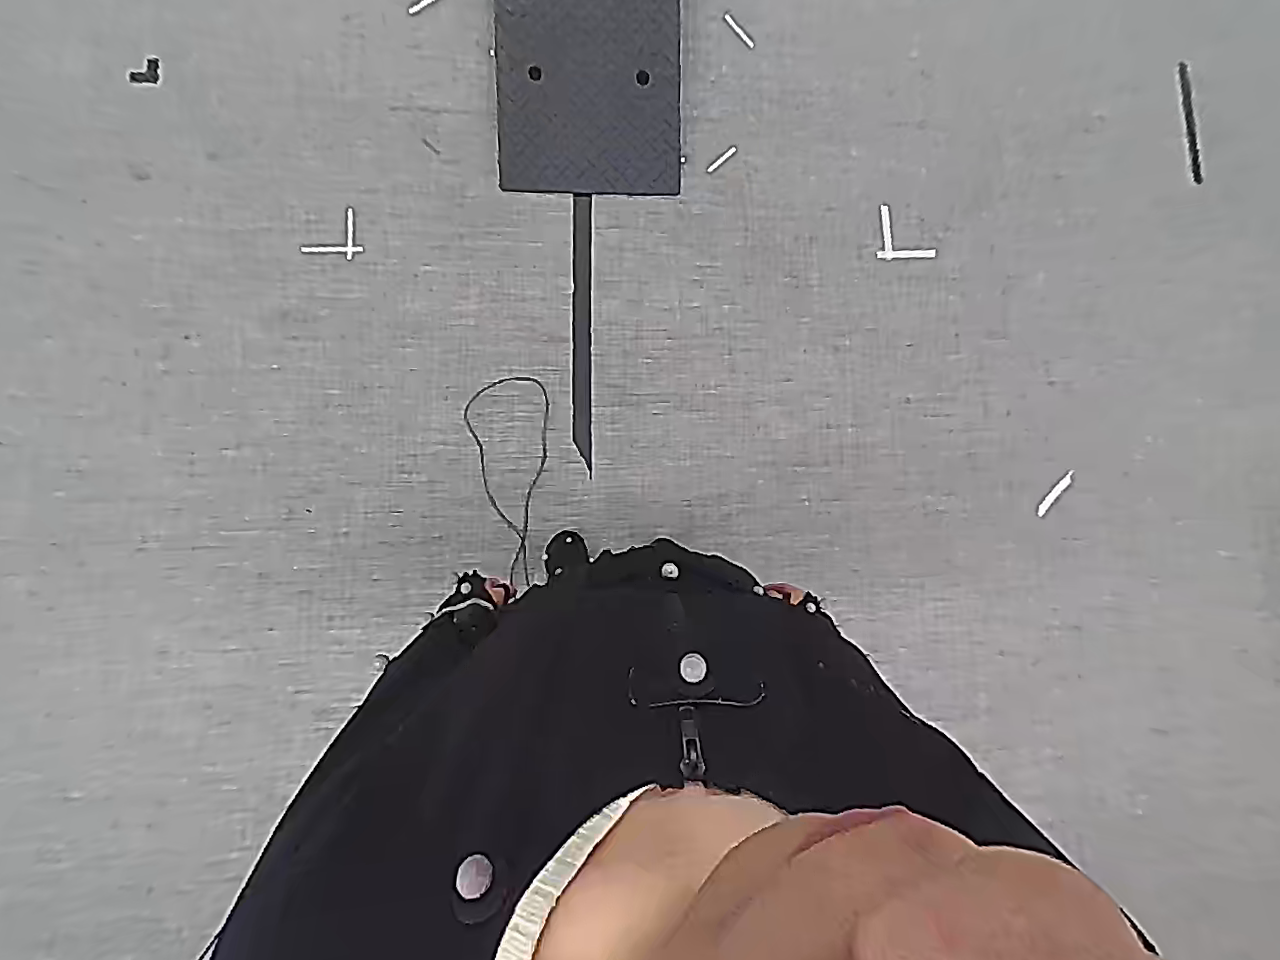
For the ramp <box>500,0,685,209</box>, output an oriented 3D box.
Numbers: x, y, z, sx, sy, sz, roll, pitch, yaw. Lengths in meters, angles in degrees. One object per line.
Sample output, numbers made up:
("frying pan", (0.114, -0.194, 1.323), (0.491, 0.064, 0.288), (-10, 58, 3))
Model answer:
("ramp", (-0.125, -1.247, 1.451), (0.509, 0.206, 0.991), (-3, 85, -6))
